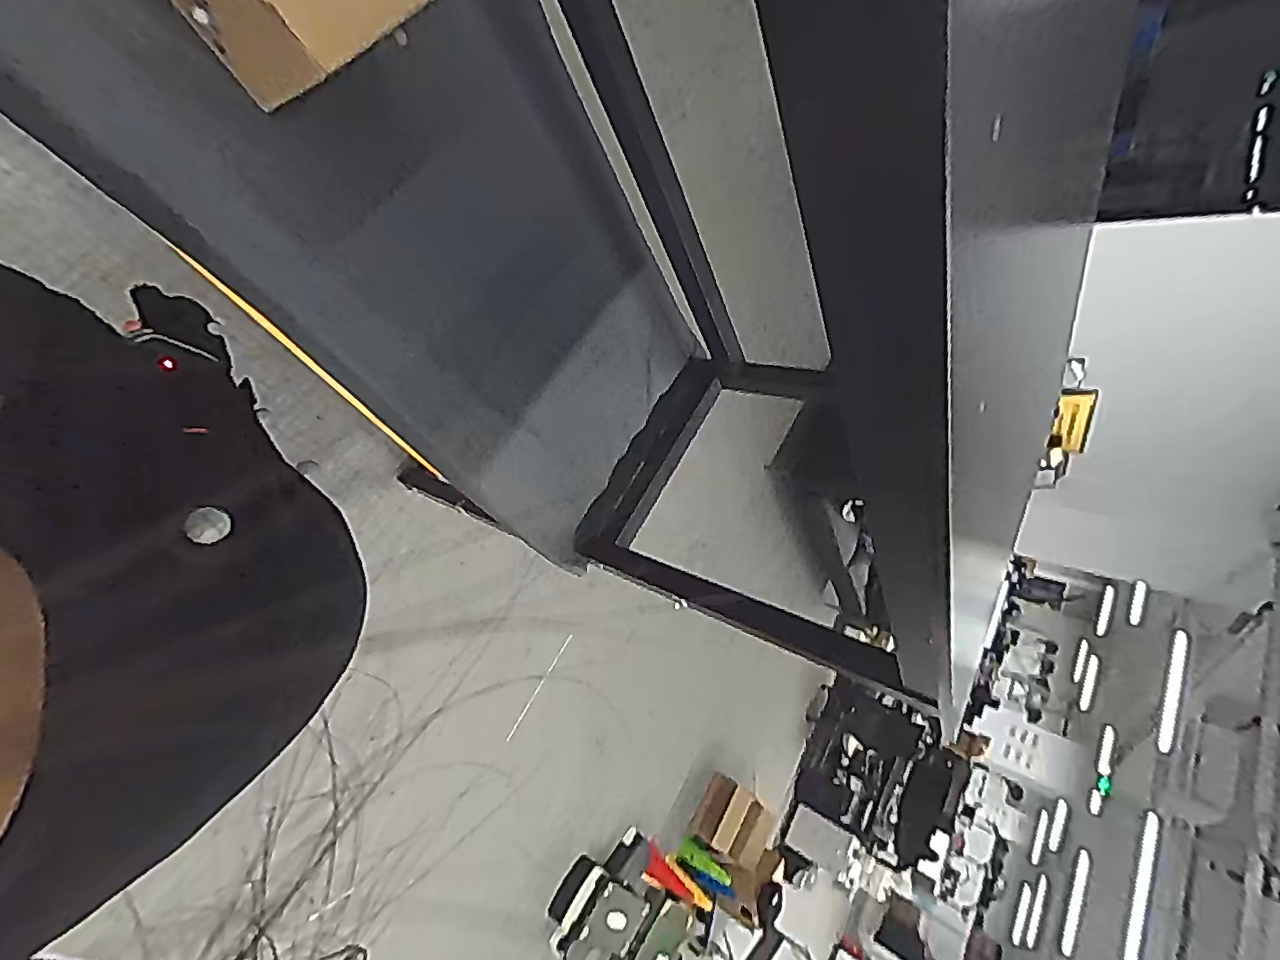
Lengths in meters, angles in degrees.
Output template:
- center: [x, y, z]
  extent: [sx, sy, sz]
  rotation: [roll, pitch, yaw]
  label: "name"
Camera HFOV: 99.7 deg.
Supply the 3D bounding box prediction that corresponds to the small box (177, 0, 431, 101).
- center: [-0.350, -0.518, 0.535]
  extent: [0.179, 0.176, 0.168]
  rotation: [-57, 139, -21]
  label: "small box"
